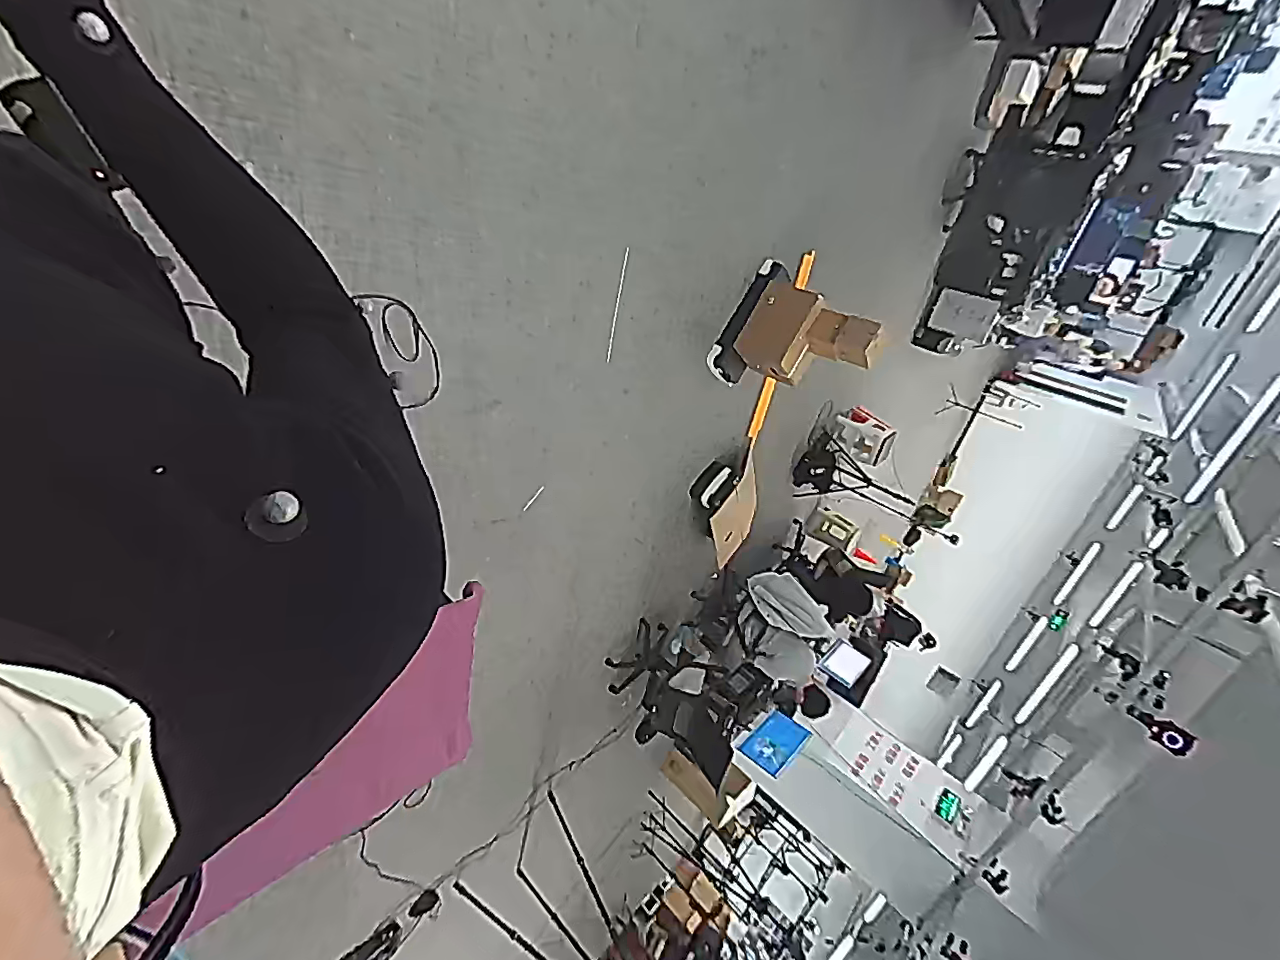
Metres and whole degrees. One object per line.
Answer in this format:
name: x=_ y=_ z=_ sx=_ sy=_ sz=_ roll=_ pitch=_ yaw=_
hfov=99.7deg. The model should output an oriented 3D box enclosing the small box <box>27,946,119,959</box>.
small box: x=-1.029 y=0.943 z=0.914 sx=0.168 sy=0.176 sz=0.179 roll=-47 pitch=147 yaw=-18
